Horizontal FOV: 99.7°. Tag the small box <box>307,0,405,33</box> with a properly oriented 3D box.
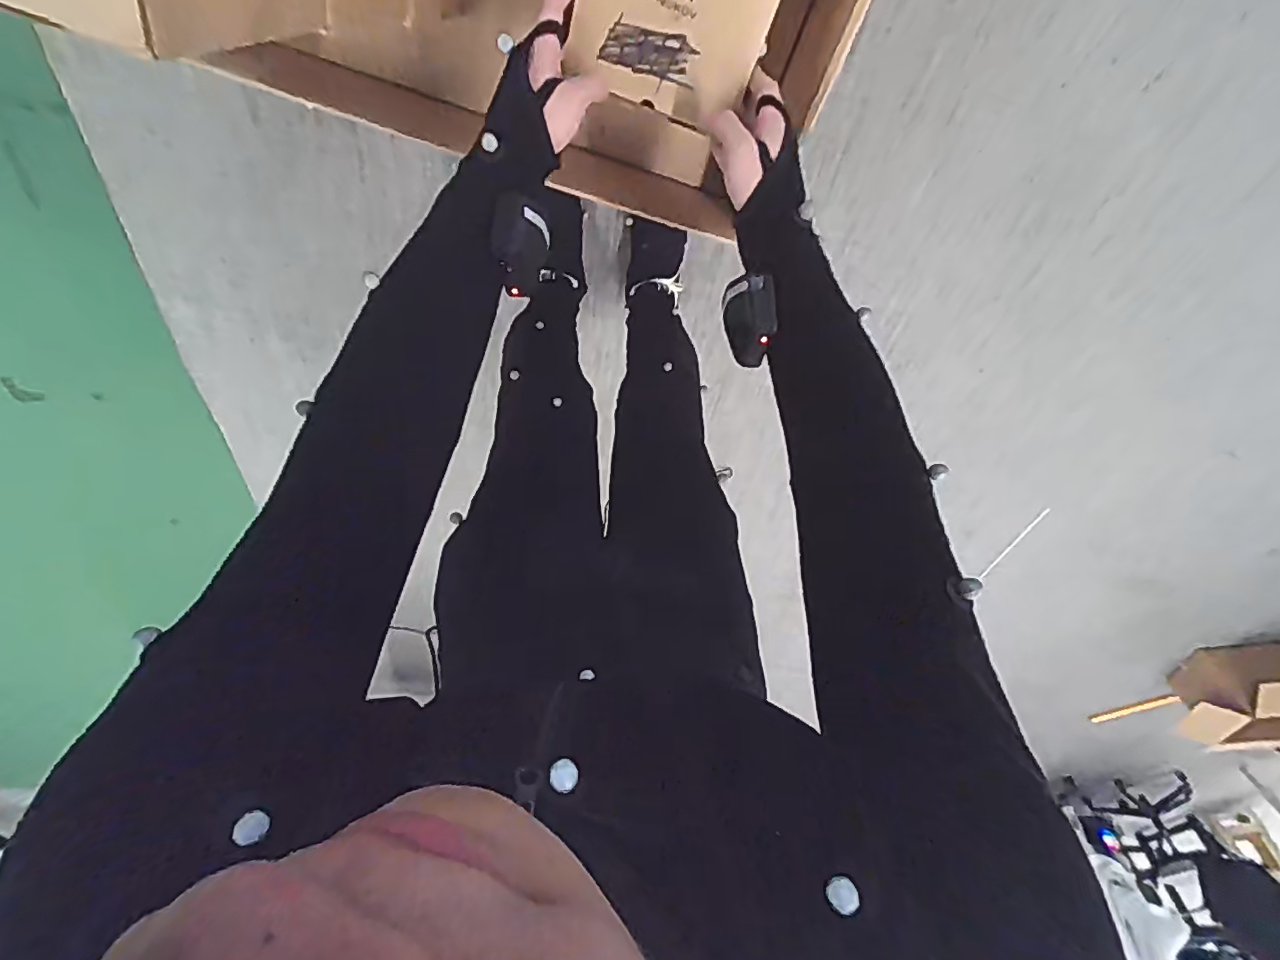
[{"bbox_3d":[-0.243,-0.416,0.325,0.168,0.176,0.179,13,132,-14],"label":"small box"}]

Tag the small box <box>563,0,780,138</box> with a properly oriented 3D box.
[{"bbox_3d":[0.034,-0.463,0.506,0.168,0.176,0.179,13,131,-14],"label":"small box"}]

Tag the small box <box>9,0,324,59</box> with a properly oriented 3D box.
[{"bbox_3d":[-0.240,-0.304,0.203,0.168,0.176,0.179,15,132,-14],"label":"small box"}]
